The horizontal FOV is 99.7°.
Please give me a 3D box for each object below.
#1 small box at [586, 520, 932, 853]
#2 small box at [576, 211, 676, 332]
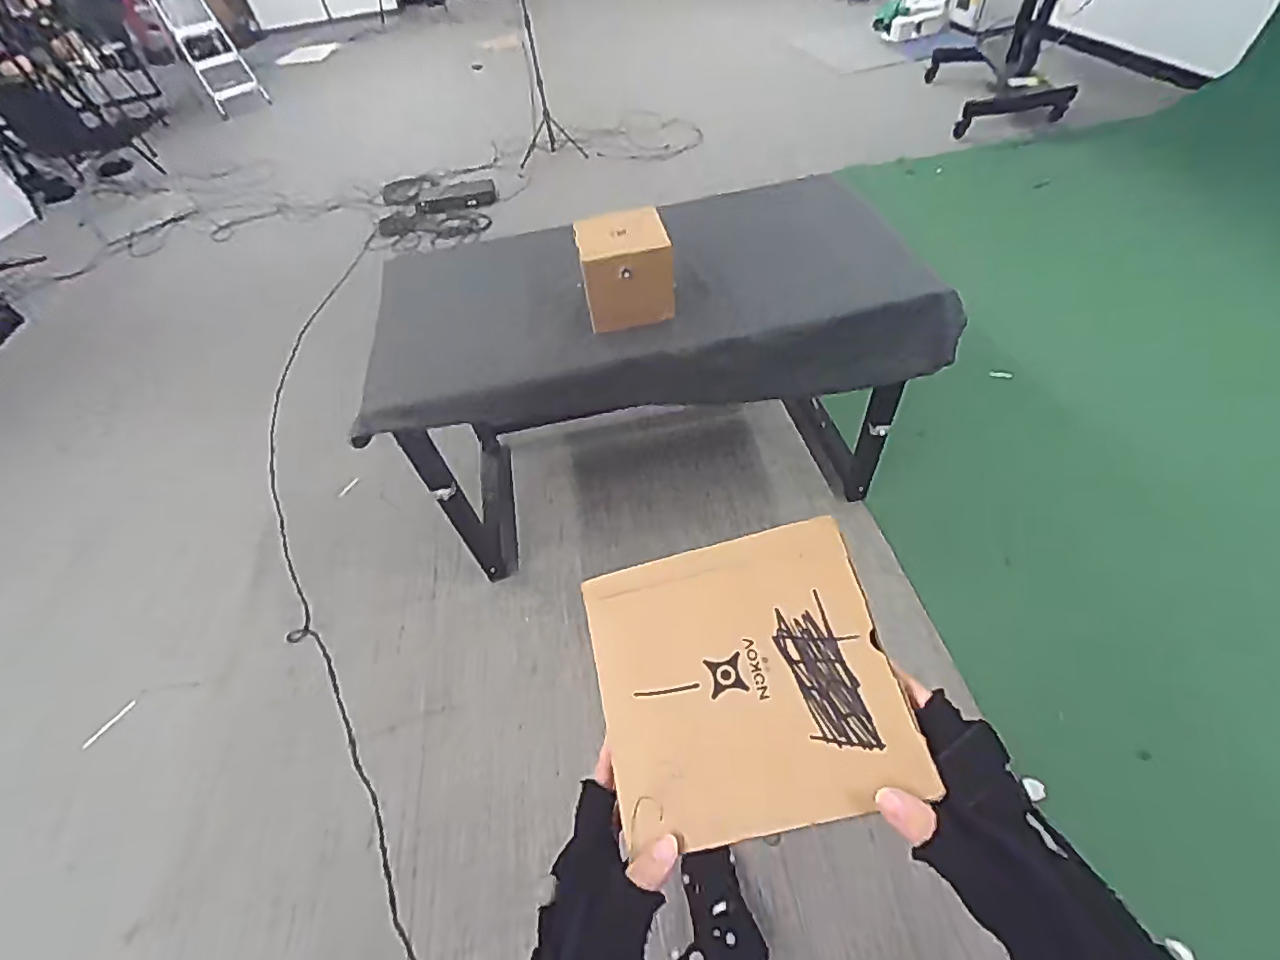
[{"bbox_3d":[0.075,0.149,0.403,0.179,0.176,0.168,-15,64,5],"label":"small box"},{"bbox_3d":[-0.026,-0.428,1.123,0.179,0.176,0.168,-11,52,-3],"label":"small box"}]
